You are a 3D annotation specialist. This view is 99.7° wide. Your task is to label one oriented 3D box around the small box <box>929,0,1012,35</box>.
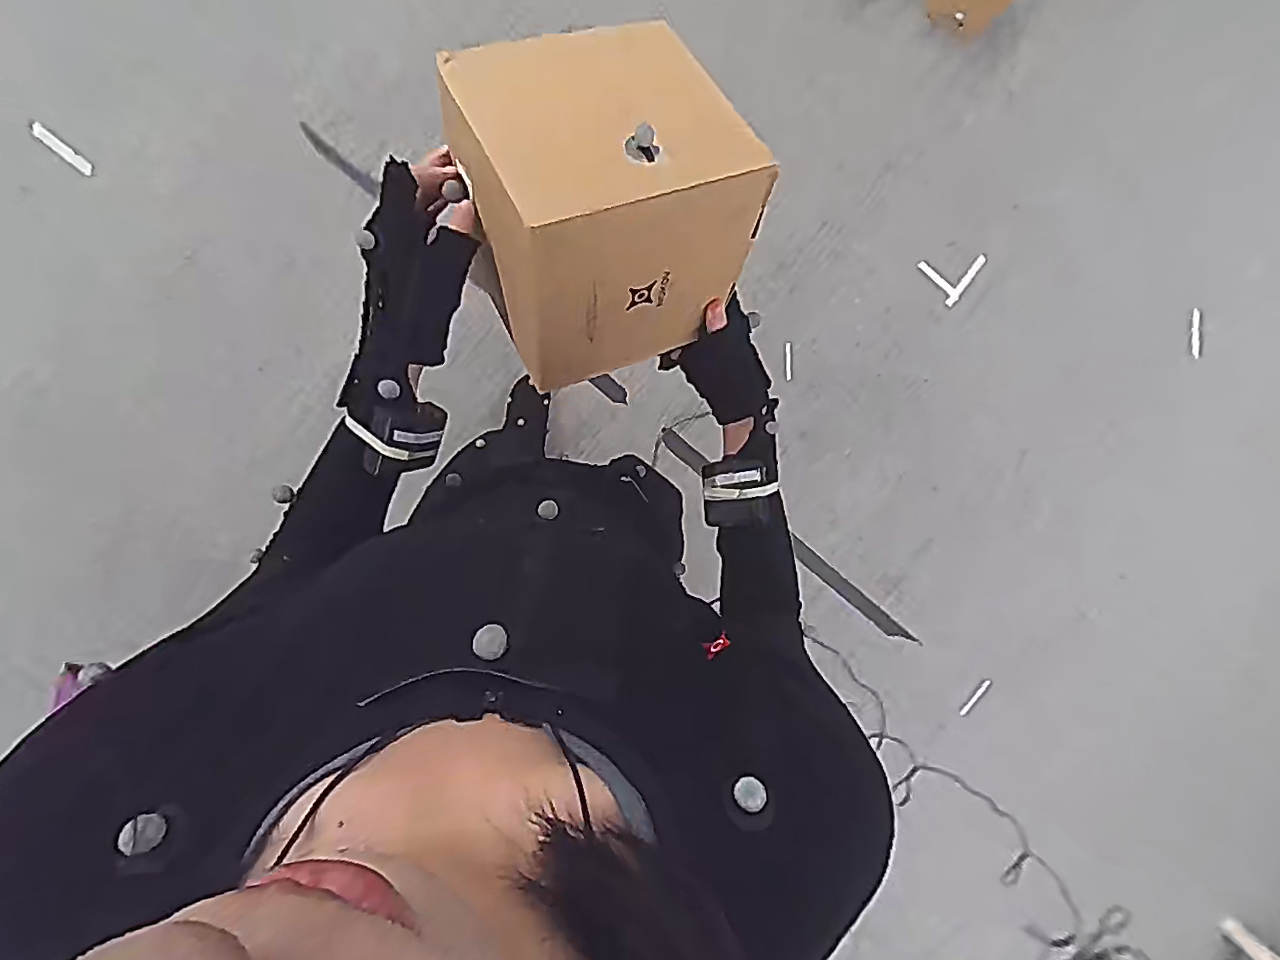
[{"bbox_3d":[0.897,-1.336,1.413,0.168,0.176,0.179,19,94,-8],"label":"small box"}]
